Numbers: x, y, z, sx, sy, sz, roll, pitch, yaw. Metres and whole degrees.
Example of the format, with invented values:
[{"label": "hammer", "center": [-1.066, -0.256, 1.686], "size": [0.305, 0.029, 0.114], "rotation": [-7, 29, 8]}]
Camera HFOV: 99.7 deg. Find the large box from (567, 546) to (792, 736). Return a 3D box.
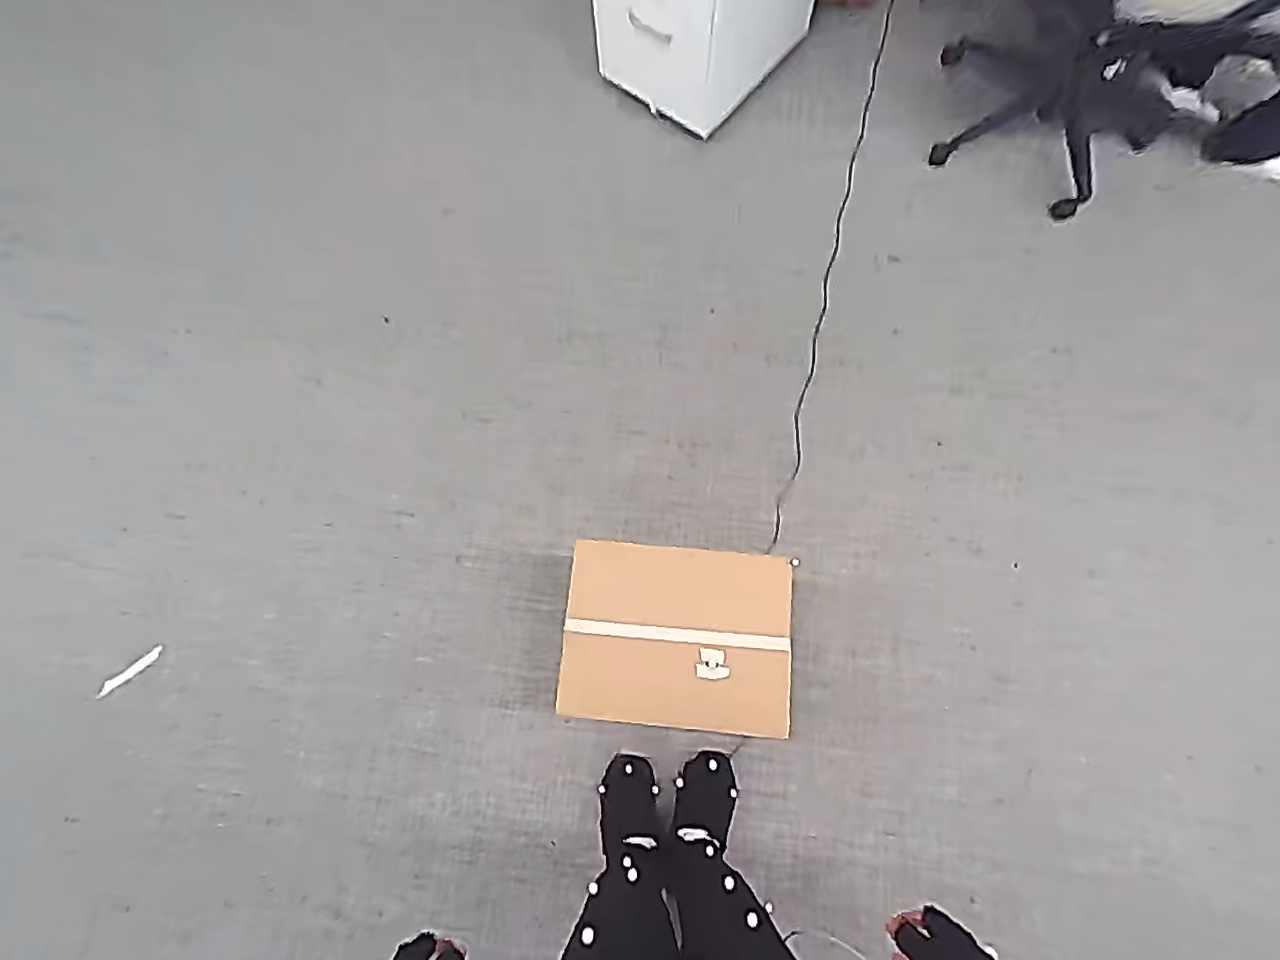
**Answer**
[{"label": "large box", "center": [0.078, 0.326, 1.131], "size": [0.408, 0.320, 0.320], "rotation": [5, 76, 2]}]
